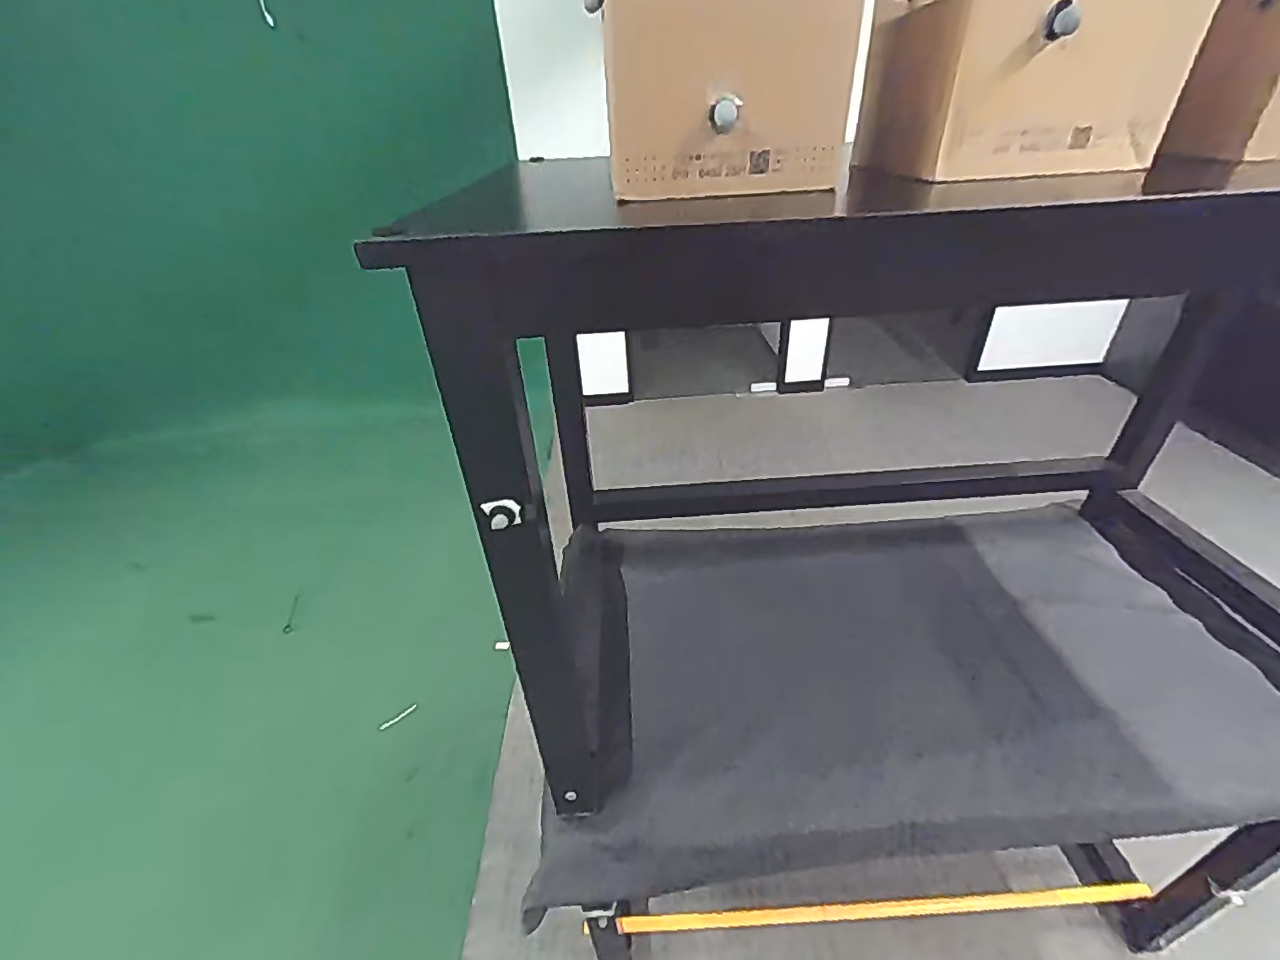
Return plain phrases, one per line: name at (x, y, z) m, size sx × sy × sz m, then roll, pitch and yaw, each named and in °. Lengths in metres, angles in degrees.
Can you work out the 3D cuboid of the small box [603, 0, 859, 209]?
small box at (0.056, -0.321, 0.433) m, size 0.168 × 0.176 × 0.179 m, roll -4°, pitch 35°, yaw -1°
